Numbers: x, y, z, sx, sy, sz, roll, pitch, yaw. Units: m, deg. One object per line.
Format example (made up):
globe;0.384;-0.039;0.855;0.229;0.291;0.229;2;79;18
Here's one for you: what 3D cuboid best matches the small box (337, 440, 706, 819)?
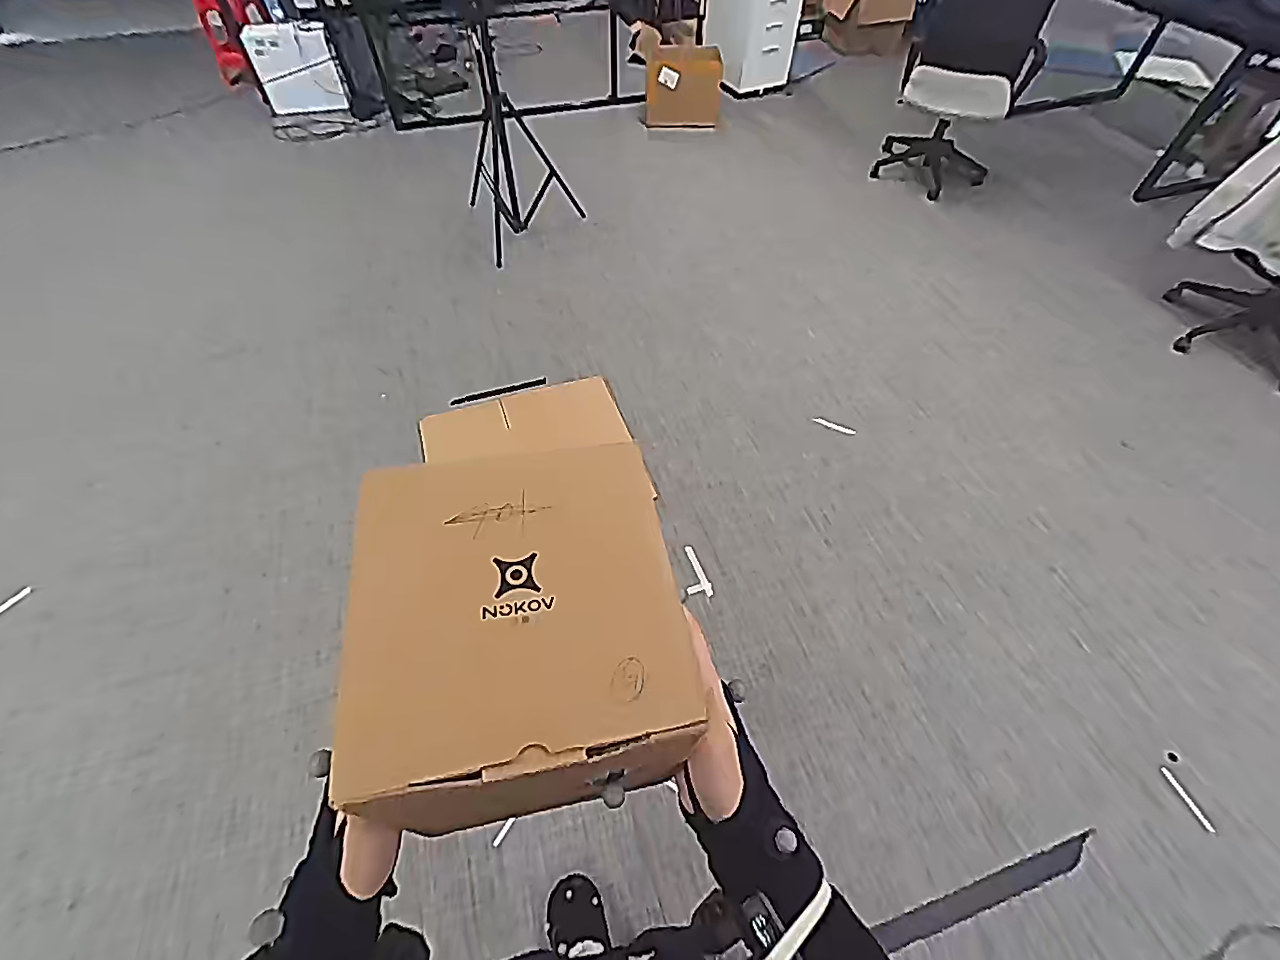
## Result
small box;-0.070;0.100;0.347;0.168;0.176;0.179;-7;53;-12
